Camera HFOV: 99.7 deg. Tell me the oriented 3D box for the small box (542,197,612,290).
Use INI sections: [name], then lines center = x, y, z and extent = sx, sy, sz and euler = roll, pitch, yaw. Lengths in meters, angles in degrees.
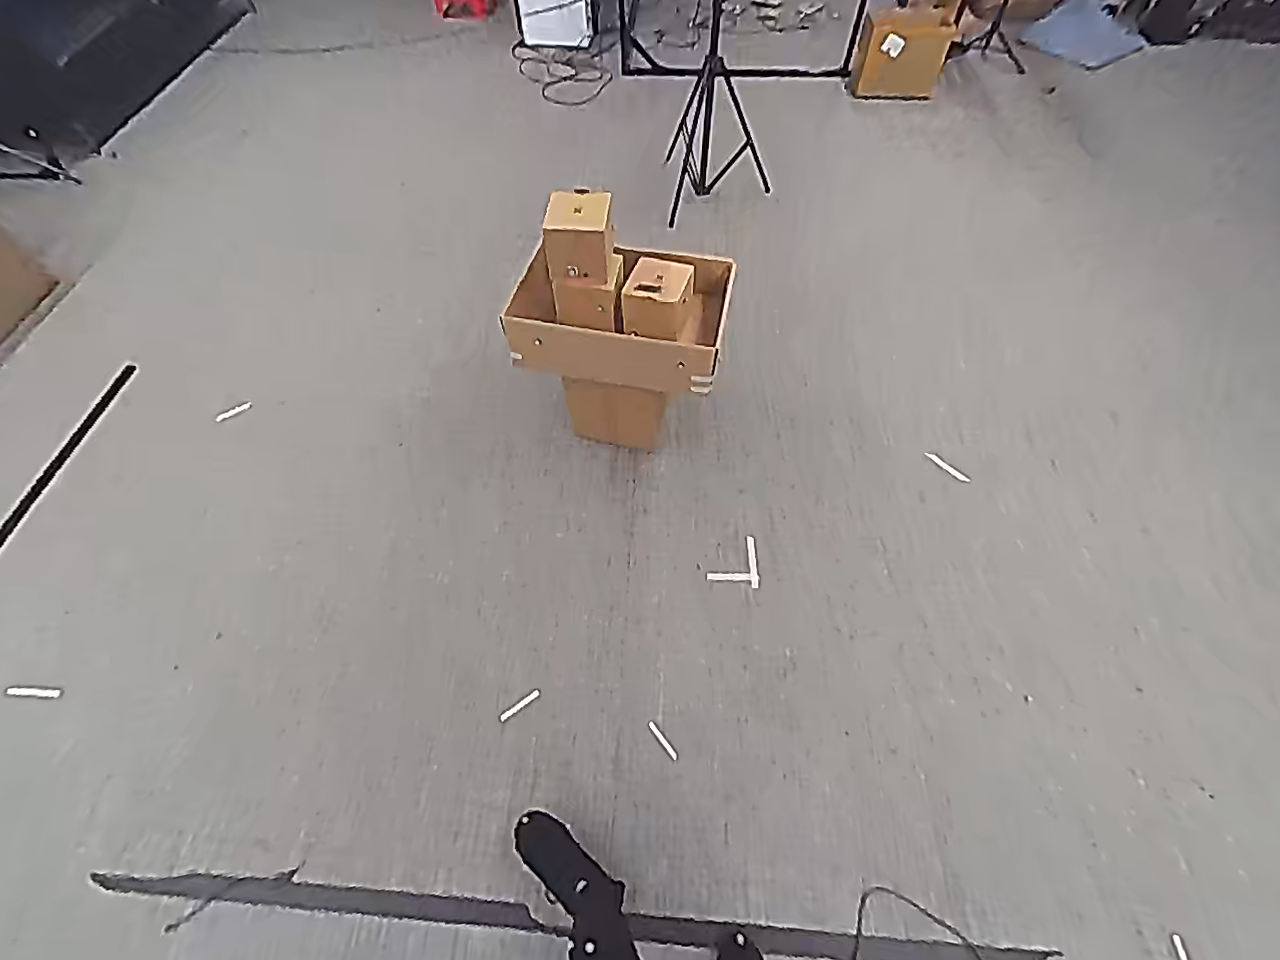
[small box]
center = -0.167, -0.654, 1.497
extent = 0.168, 0.176, 0.179
euler = 3, 57, 2
